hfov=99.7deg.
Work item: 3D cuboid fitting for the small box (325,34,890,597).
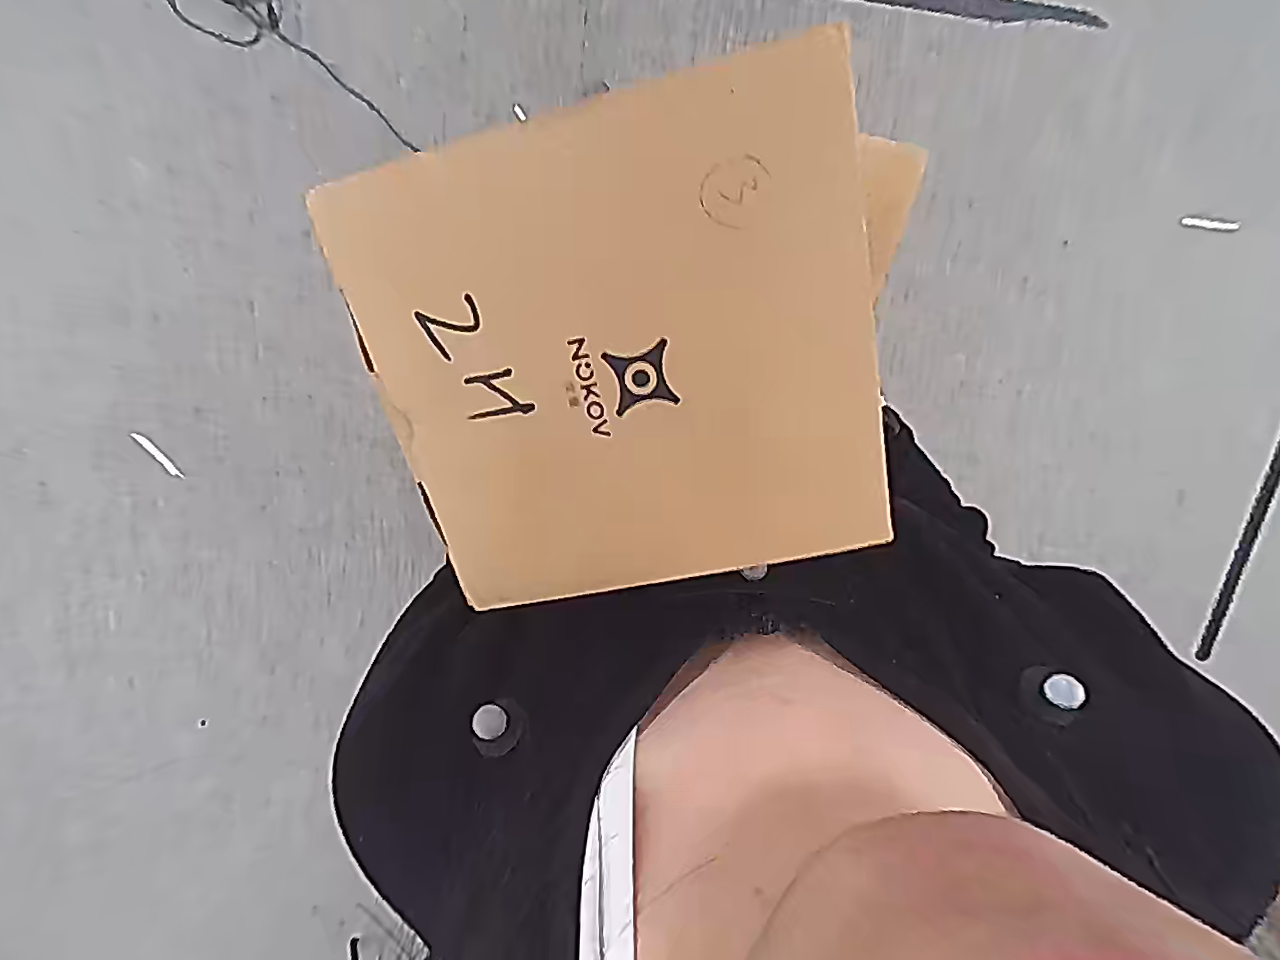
[{"bbox_3d":[0.002,-0.065,0.265,0.179,0.176,0.168,-9,107,10],"label":"small box"}]

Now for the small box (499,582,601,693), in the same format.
[{"bbox_3d":[-0.161,0.277,1.017,0.168,0.176,0.179,-1,105,0],"label":"small box"}]

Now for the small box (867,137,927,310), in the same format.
[{"bbox_3d":[0.072,-0.152,0.408,0.168,0.176,0.179,13,110,-1],"label":"small box"}]
